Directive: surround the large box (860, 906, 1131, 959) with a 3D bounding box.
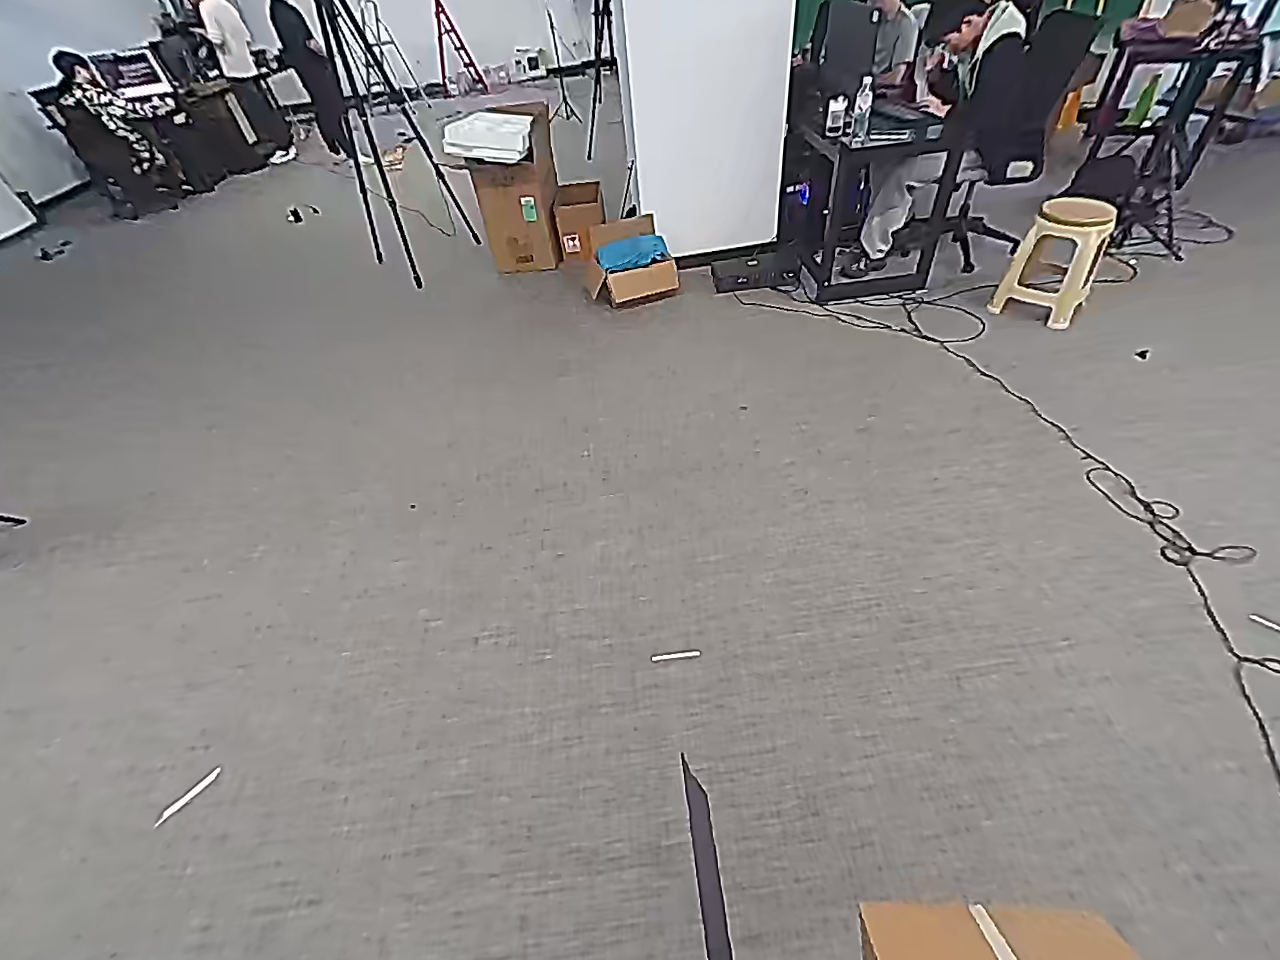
[{"bbox_3d":[0.443,0.744,0.549,0.320,0.408,0.320,-4,89,8],"label":"large box"}]
